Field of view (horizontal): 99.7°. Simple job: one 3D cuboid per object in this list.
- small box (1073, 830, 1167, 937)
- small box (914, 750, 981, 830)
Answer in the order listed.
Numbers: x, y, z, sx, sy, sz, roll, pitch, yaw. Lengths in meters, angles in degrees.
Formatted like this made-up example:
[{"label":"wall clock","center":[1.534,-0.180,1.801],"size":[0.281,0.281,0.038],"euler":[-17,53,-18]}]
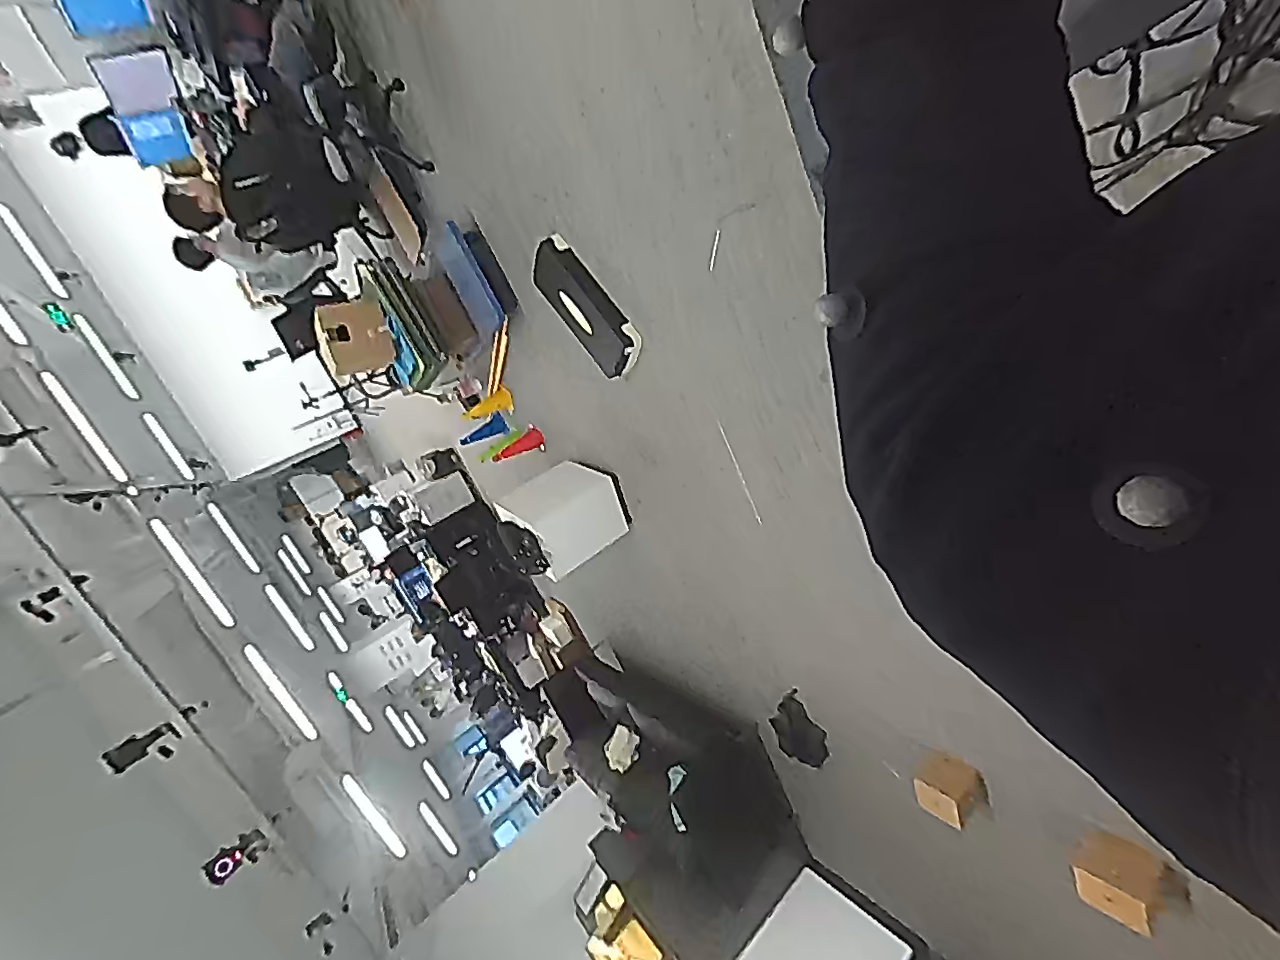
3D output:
[{"label":"small box","center":[1.493,1.238,1.680],"size":[0.179,0.176,0.168],"euler":[5,123,57]},{"label":"small box","center":[1.208,1.206,2.118],"size":[0.168,0.176,0.179],"euler":[13,130,56]}]
